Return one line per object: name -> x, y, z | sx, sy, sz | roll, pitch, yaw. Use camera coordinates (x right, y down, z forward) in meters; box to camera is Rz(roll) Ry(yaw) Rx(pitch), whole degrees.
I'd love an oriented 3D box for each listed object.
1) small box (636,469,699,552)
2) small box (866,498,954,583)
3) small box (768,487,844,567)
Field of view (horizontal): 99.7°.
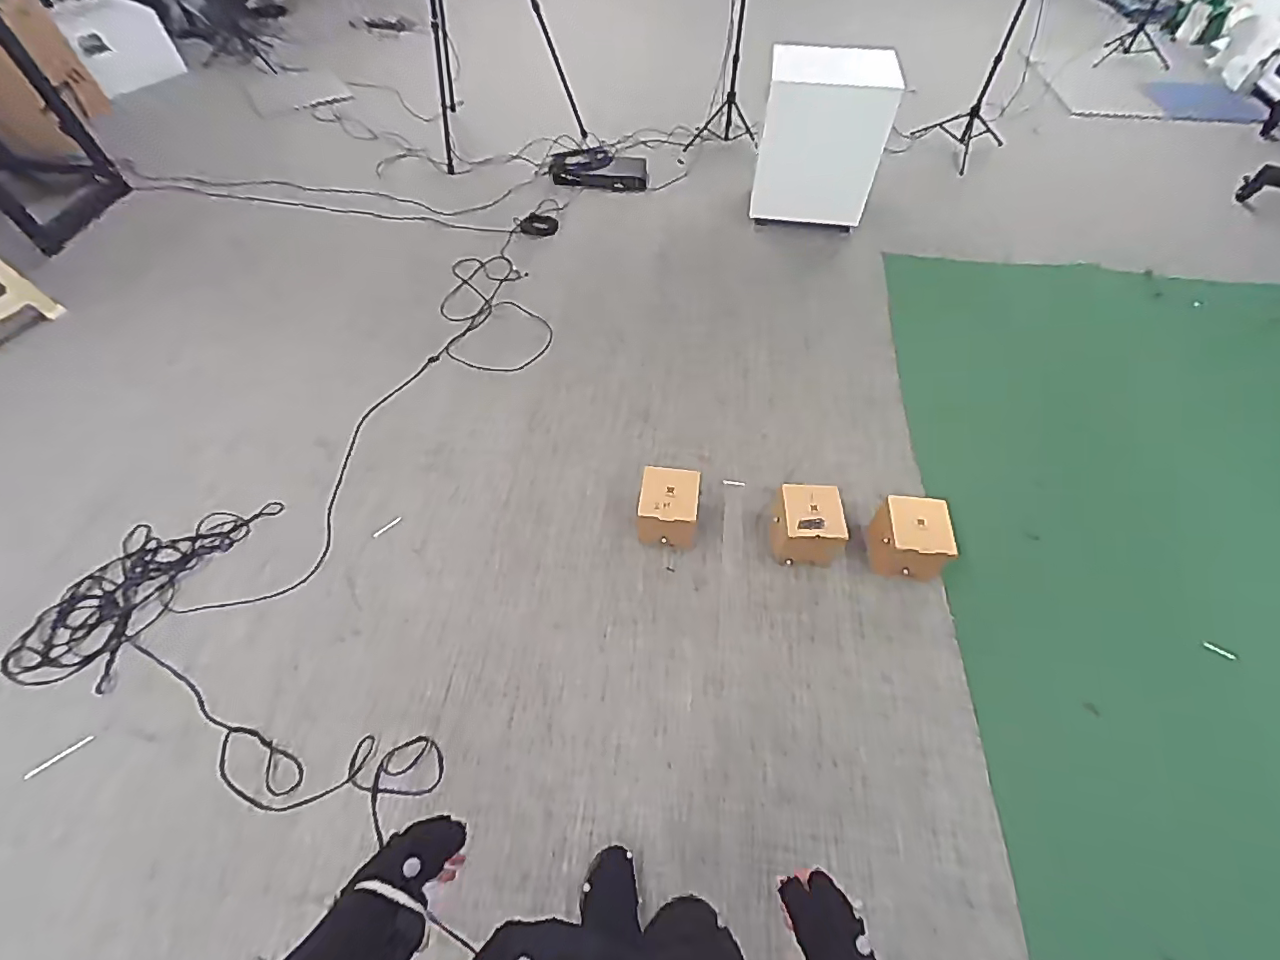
small box -> 0.080, 0.091, 1.608 | 0.168, 0.176, 0.179 | 6, 56, 5
small box -> 0.768, 0.176, 1.562 | 0.168, 0.176, 0.179 | 5, 55, 4
small box -> 0.478, 0.141, 1.581 | 0.168, 0.176, 0.179 | 3, 54, 1
